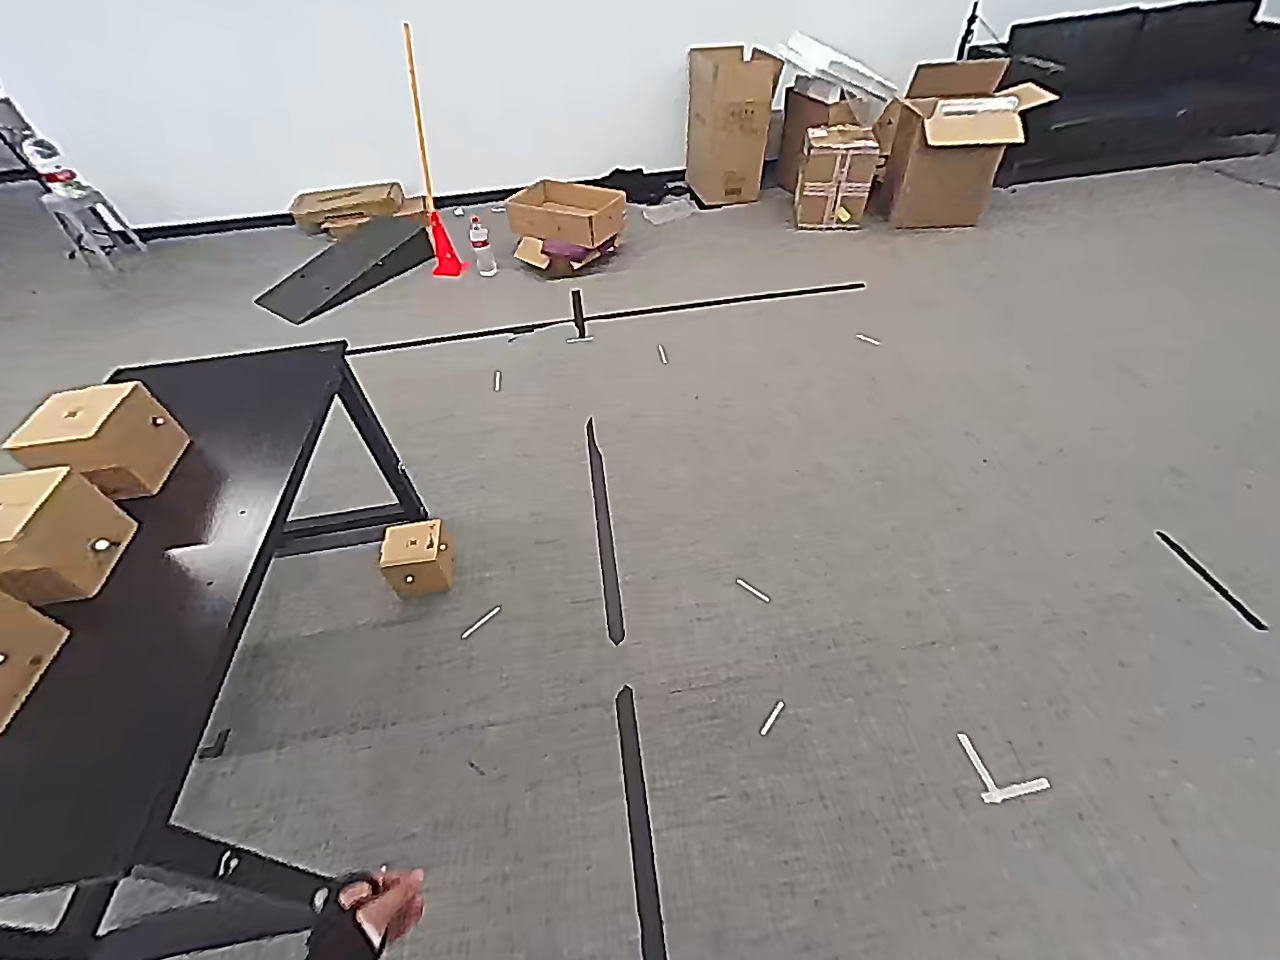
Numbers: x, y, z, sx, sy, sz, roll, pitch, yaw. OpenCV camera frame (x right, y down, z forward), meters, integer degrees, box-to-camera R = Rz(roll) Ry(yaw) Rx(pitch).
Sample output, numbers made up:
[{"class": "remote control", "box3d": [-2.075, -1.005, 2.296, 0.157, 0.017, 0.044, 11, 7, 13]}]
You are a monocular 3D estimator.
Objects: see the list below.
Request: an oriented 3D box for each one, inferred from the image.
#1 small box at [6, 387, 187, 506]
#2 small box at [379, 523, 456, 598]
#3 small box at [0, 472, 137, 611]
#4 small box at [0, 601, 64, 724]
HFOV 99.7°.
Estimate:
[{"class": "small box", "box3d": [-1.089, -0.064, 1.108, 0.168, 0.176, 0.179, -10, 47, -3]}, {"class": "small box", "box3d": [-0.722, 0.267, 1.770, 0.179, 0.176, 0.168, -10, 47, -4]}, {"class": "small box", "box3d": [-1.051, 0.111, 0.935, 0.179, 0.176, 0.168, -8, 46, -6]}, {"class": "small box", "box3d": [-1.023, 0.271, 0.781, 0.179, 0.176, 0.168, -6, 46, -2]}]
